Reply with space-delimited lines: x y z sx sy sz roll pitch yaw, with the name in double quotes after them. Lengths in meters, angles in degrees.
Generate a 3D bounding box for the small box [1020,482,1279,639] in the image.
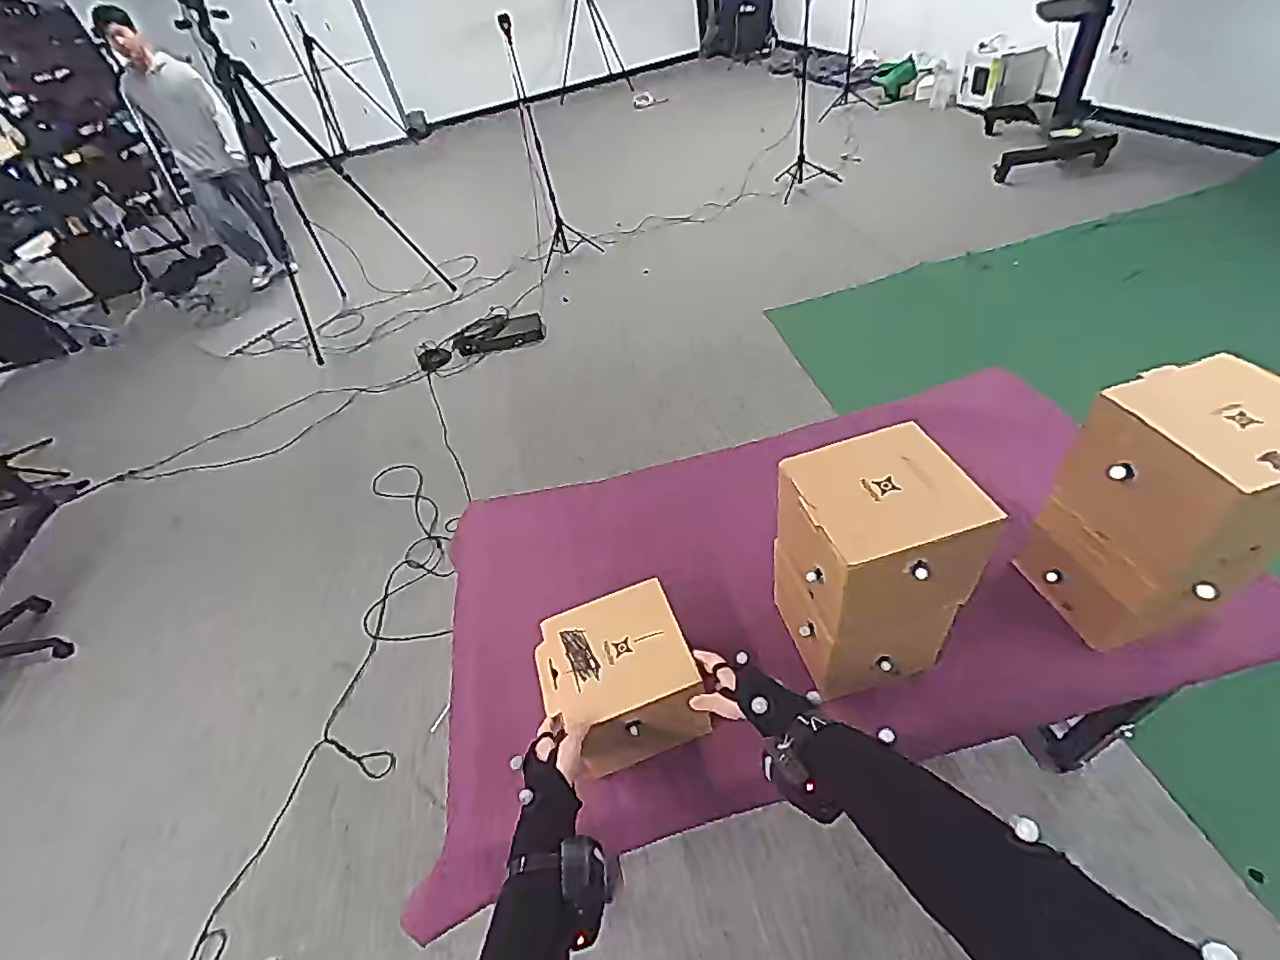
0.676 0.090 0.745 0.179 0.176 0.168 -19 46 -1 "small box"

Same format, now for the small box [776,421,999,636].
0.280 0.062 0.651 0.179 0.176 0.168 -17 45 -1 "small box"

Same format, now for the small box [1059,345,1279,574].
0.645 -0.023 0.630 0.168 0.176 0.179 -19 45 0 "small box"

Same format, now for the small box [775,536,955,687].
0.306 0.172 0.769 0.168 0.176 0.179 -17 44 -1 "small box"

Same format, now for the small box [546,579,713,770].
-0.011 0.276 0.759 0.179 0.176 0.168 -20 45 -6 "small box"
